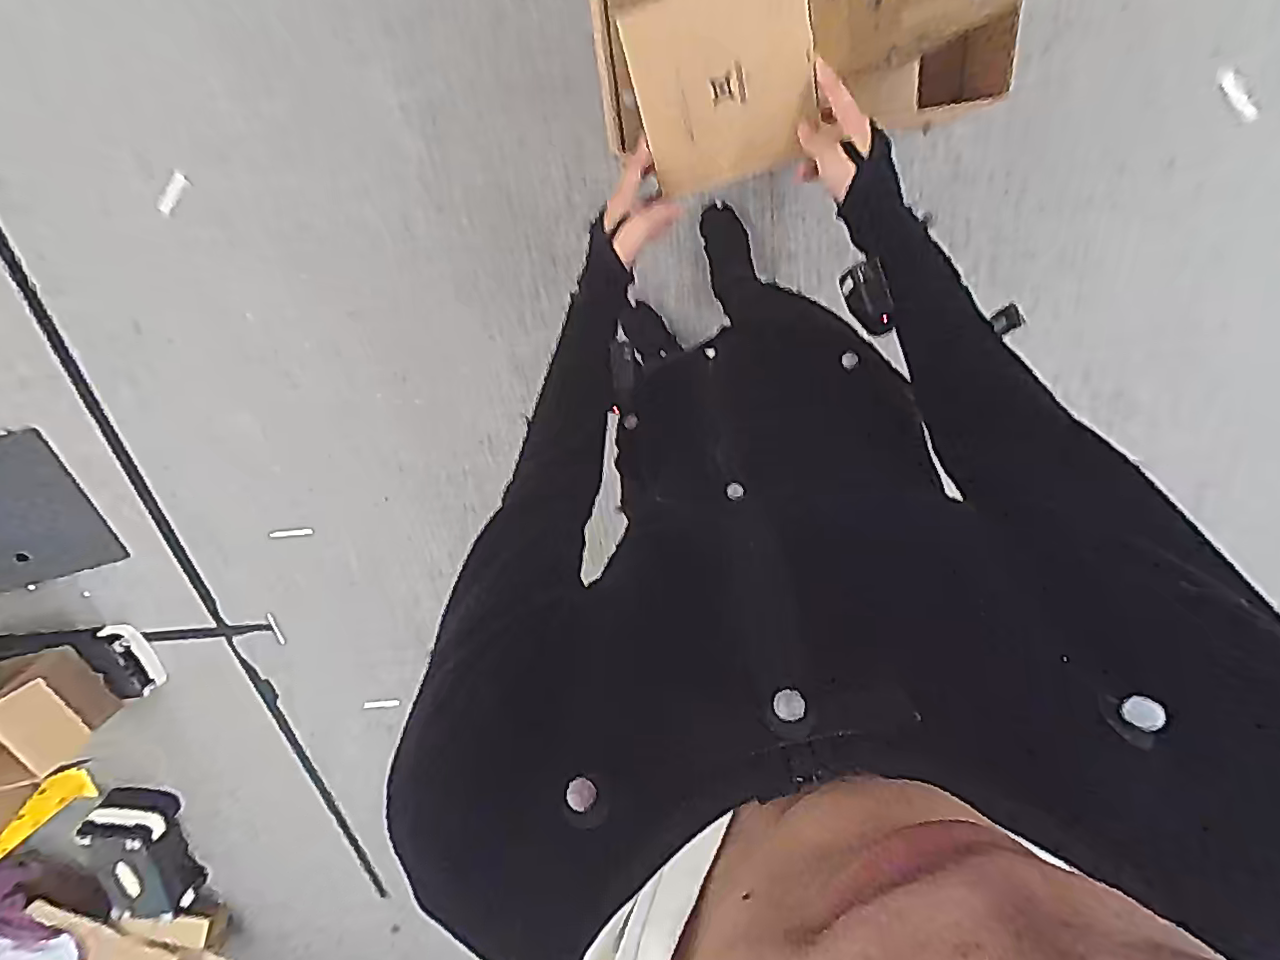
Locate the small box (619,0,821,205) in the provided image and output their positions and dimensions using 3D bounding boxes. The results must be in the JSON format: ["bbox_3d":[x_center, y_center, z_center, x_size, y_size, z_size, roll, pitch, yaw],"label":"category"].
[{"bbox_3d":[0.084,-0.430,0.594,0.179,0.176,0.168,-14,125,11],"label":"small box"}]
